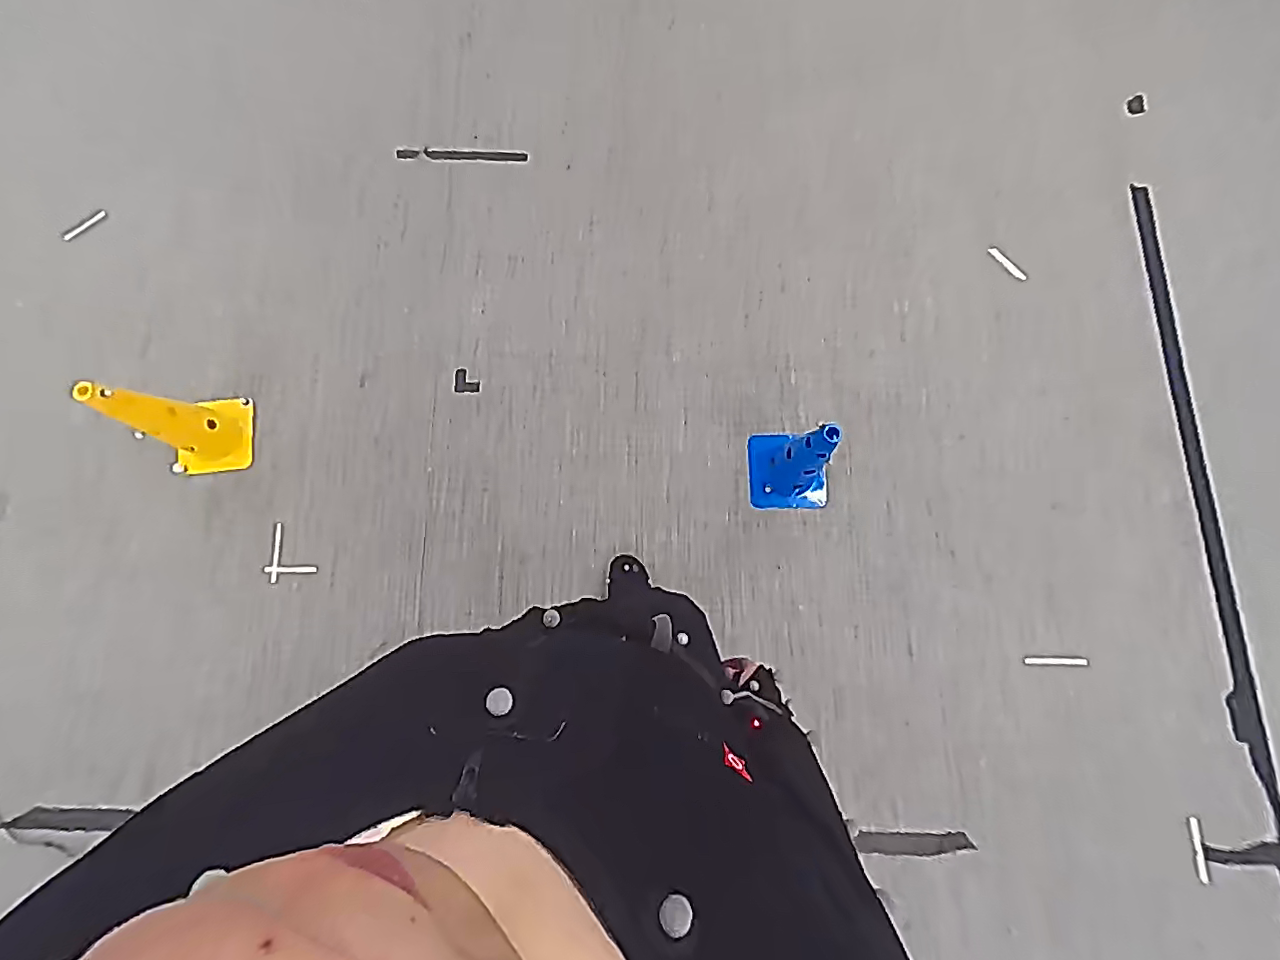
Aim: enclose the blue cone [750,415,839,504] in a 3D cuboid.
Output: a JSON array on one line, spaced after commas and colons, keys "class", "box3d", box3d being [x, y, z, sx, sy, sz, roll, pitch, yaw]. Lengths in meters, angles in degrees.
[{"class": "blue cone", "box3d": [0.383, -0.064, 1.252, 0.193, 0.380, 0.192, 1, 78, 1]}]
